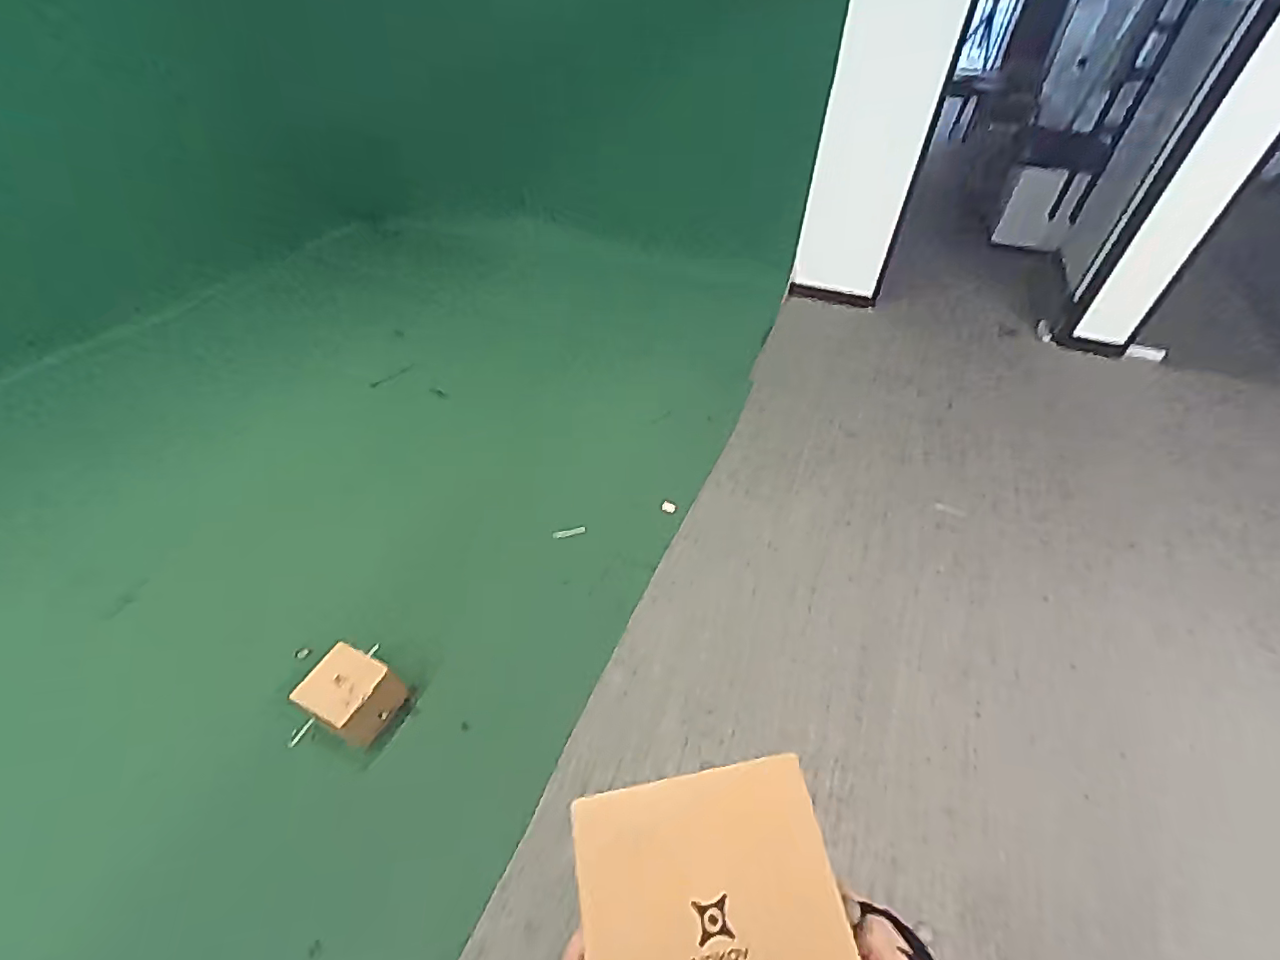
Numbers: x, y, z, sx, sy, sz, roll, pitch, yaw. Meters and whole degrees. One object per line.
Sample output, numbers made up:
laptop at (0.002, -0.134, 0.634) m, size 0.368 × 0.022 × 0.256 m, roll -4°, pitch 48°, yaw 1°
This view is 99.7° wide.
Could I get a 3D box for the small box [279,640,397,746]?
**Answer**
small box at (-0.766, 0.549, 1.387) m, size 0.179 × 0.176 × 0.168 m, roll 20°, pitch 48°, yaw 16°
